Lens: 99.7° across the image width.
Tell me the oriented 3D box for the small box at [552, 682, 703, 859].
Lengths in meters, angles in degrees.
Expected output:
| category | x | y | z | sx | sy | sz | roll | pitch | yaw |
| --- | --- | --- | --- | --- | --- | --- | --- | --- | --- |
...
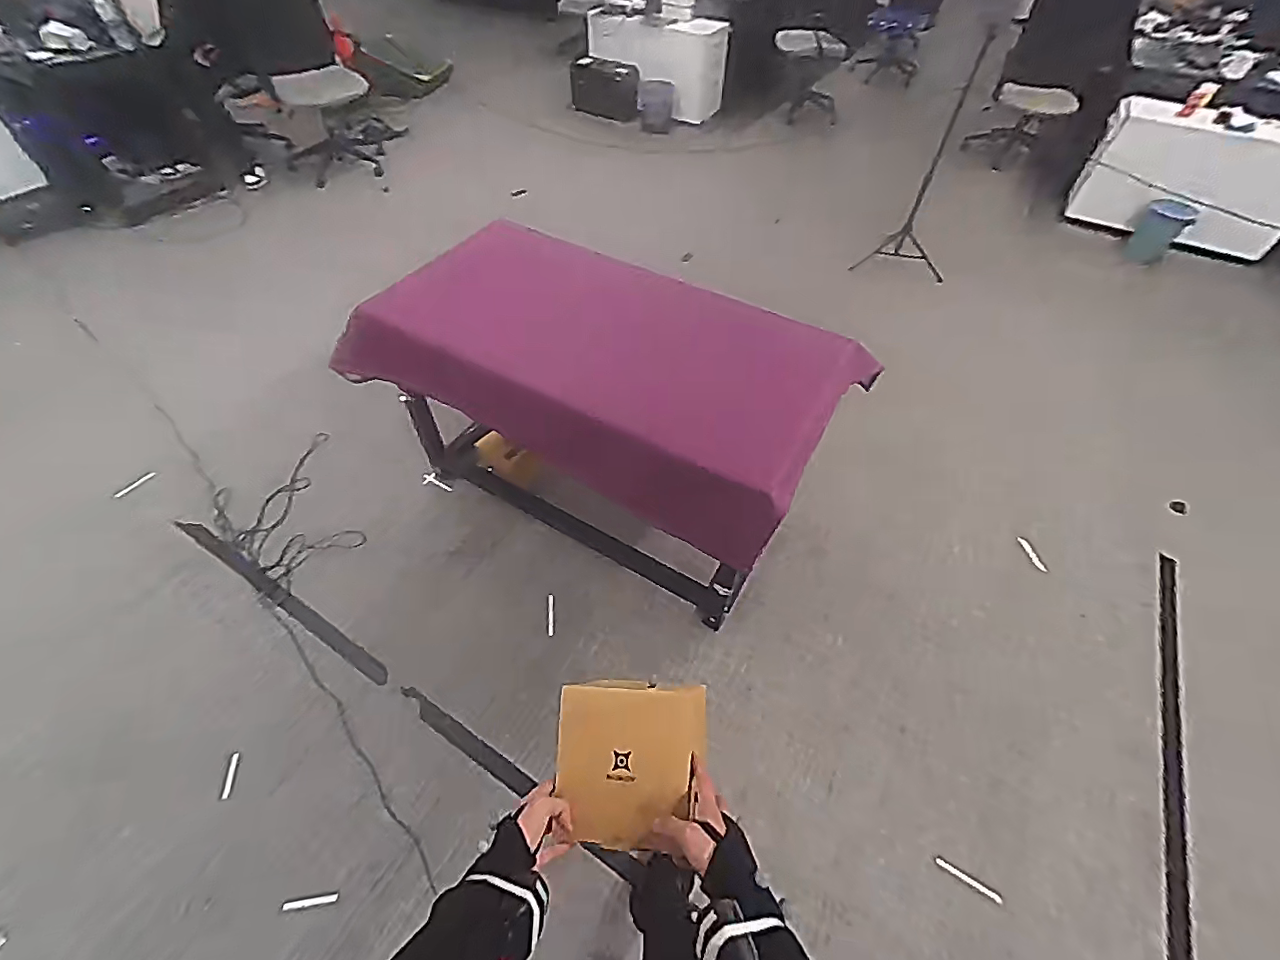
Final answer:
| category | x | y | z | sx | sy | sz | roll | pitch | yaw |
| --- | --- | --- | --- | --- | --- | --- | --- | --- | --- |
| small box | -0.007 | 0.370 | 0.725 | 0.168 | 0.176 | 0.179 | -2 | 73 | 12 |
